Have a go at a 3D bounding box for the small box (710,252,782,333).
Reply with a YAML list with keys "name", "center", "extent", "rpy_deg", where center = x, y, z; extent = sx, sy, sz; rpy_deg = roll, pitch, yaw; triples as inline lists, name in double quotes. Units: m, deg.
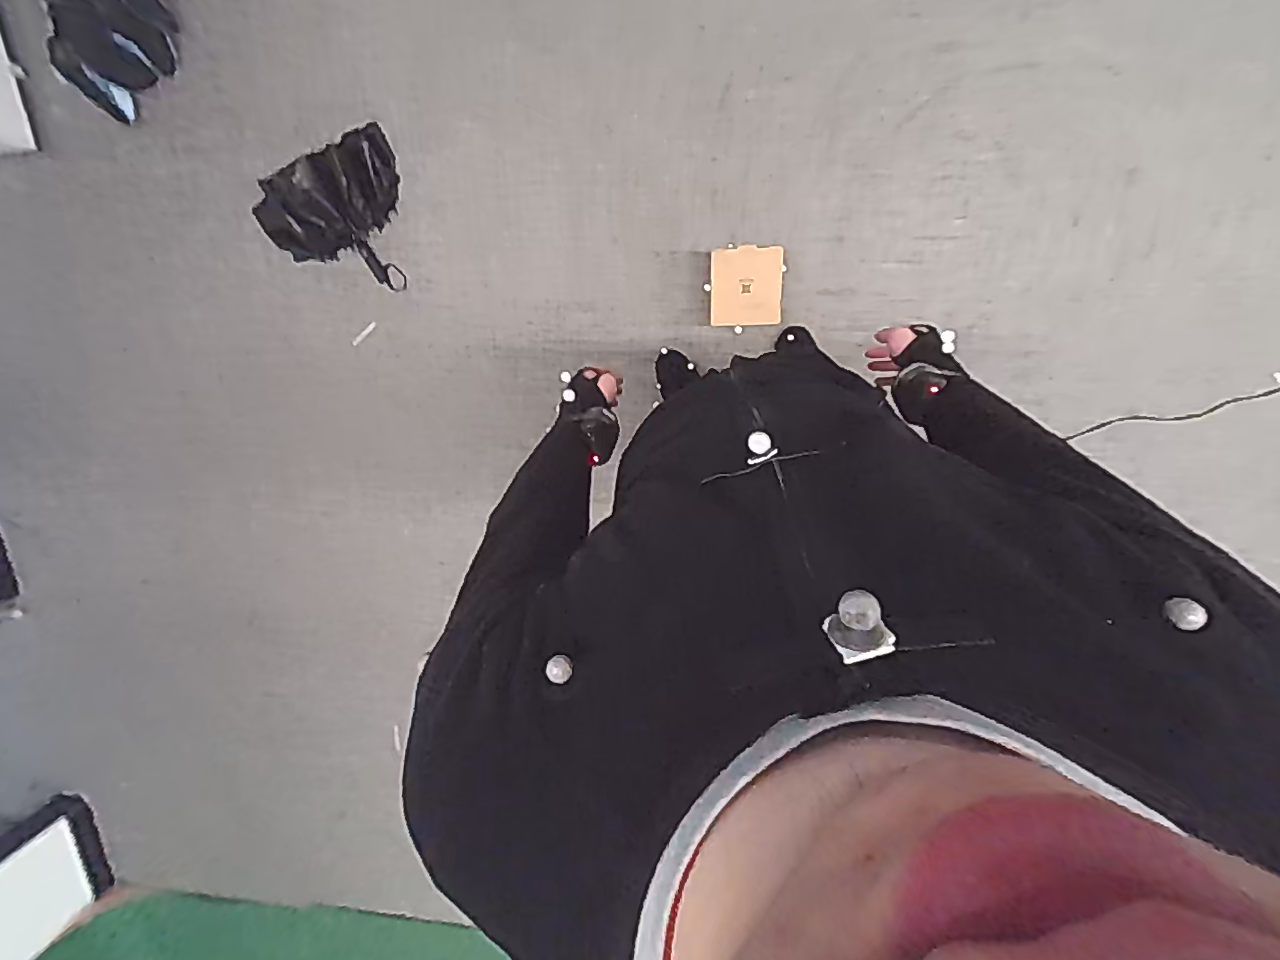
- name: "small box"
  center: [0.261, -0.462, 1.353]
  extent: [0.168, 0.176, 0.179]
  rpy_deg: [0, 106, 9]
